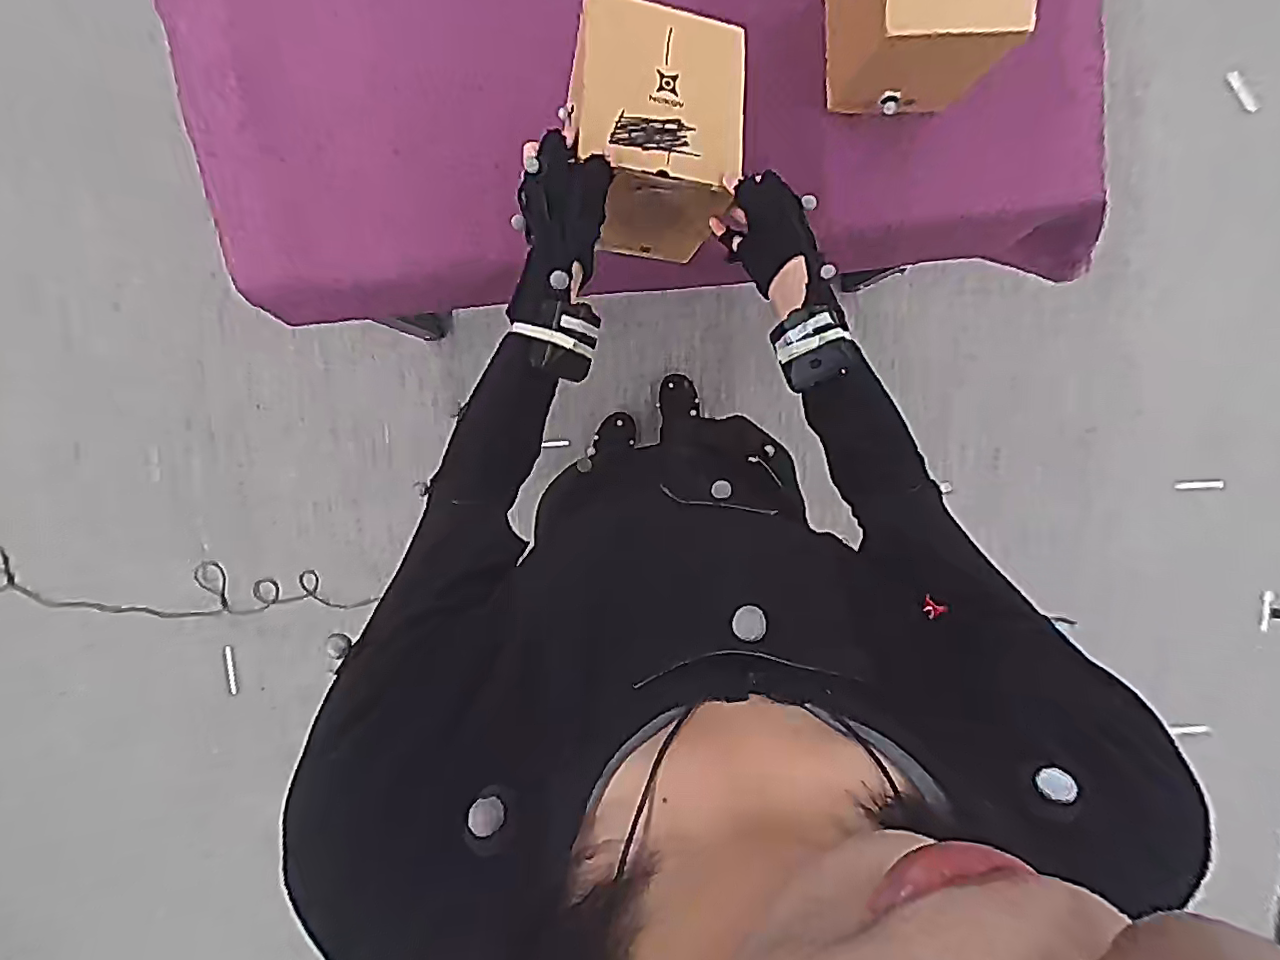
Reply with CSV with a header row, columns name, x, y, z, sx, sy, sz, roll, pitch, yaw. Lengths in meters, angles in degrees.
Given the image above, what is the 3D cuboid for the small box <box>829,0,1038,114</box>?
name,x,y,z,sx,sy,sz,roll,pitch,yaw
small box,0.336,-0.576,0.646,0.168,0.176,0.179,-4,98,-2

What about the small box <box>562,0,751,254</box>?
name,x,y,z,sx,sy,sz,roll,pitch,yaw
small box,0.008,-0.375,0.594,0.168,0.176,0.179,4,86,-15
